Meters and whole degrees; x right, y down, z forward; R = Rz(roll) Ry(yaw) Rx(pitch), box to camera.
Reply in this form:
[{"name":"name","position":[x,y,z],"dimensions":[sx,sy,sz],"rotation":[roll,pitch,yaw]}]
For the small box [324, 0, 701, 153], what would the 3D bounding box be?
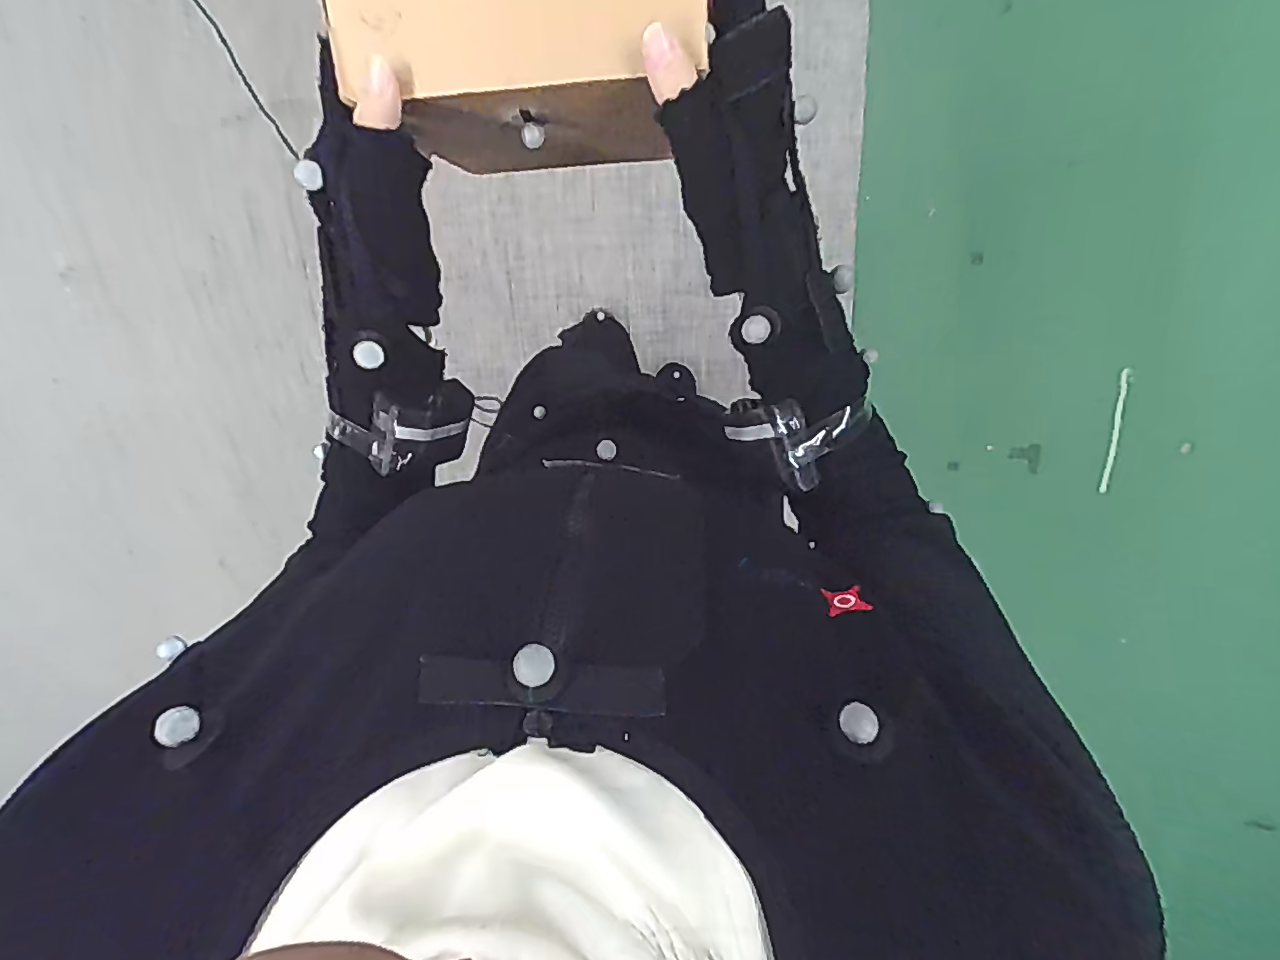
[{"name":"small box","position":[-0.056,-0.298,0.300],"dimensions":[0.179,0.176,0.168],"rotation":[-2,109,5]}]
